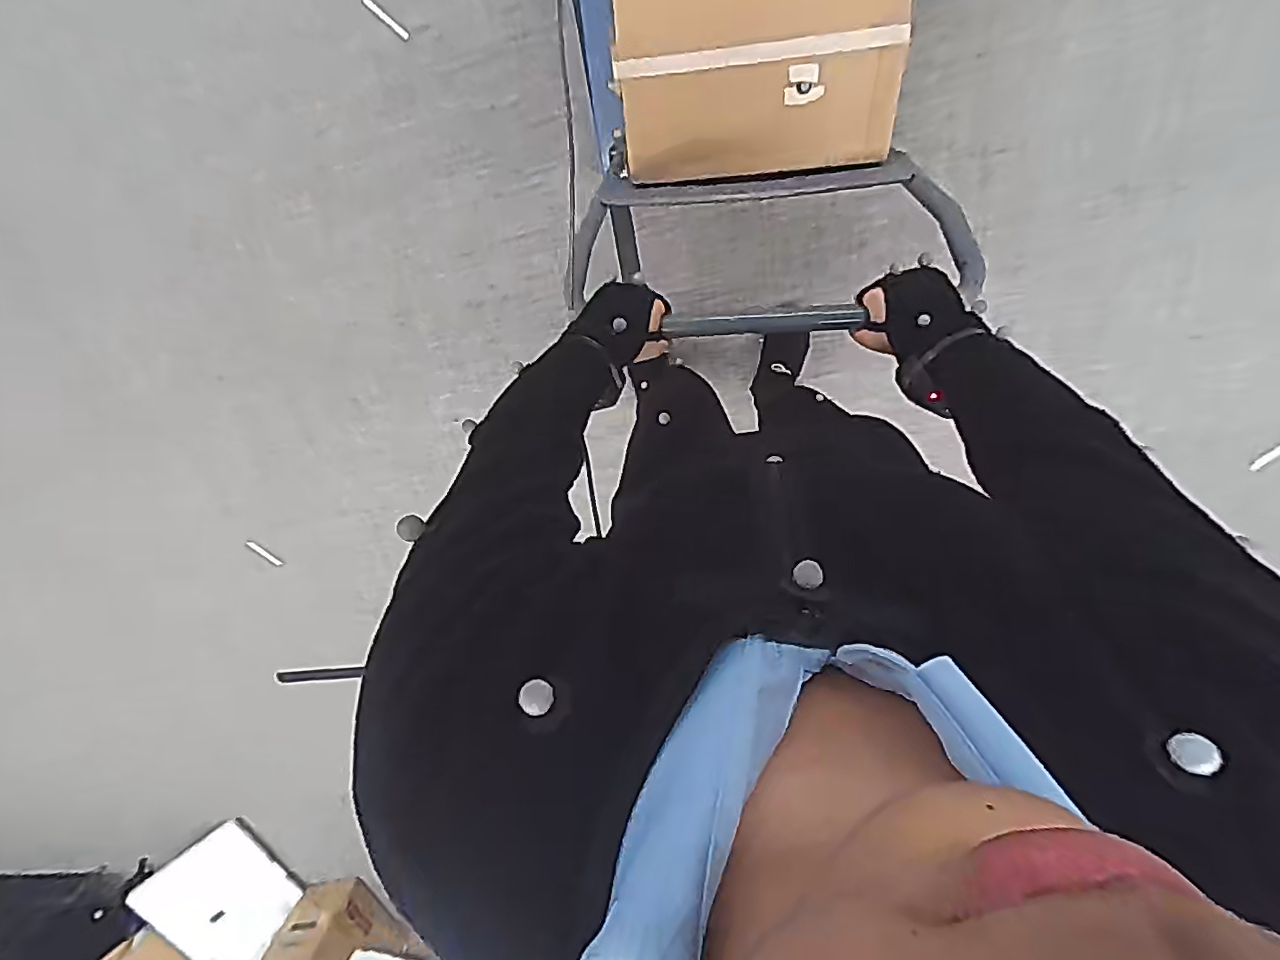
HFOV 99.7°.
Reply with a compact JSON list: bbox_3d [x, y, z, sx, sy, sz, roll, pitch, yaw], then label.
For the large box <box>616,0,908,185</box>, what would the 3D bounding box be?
[{"bbox_3d":[0.184,-0.714,0.898,0.408,0.320,0.320,-2,130,8],"label":"large box"}]
